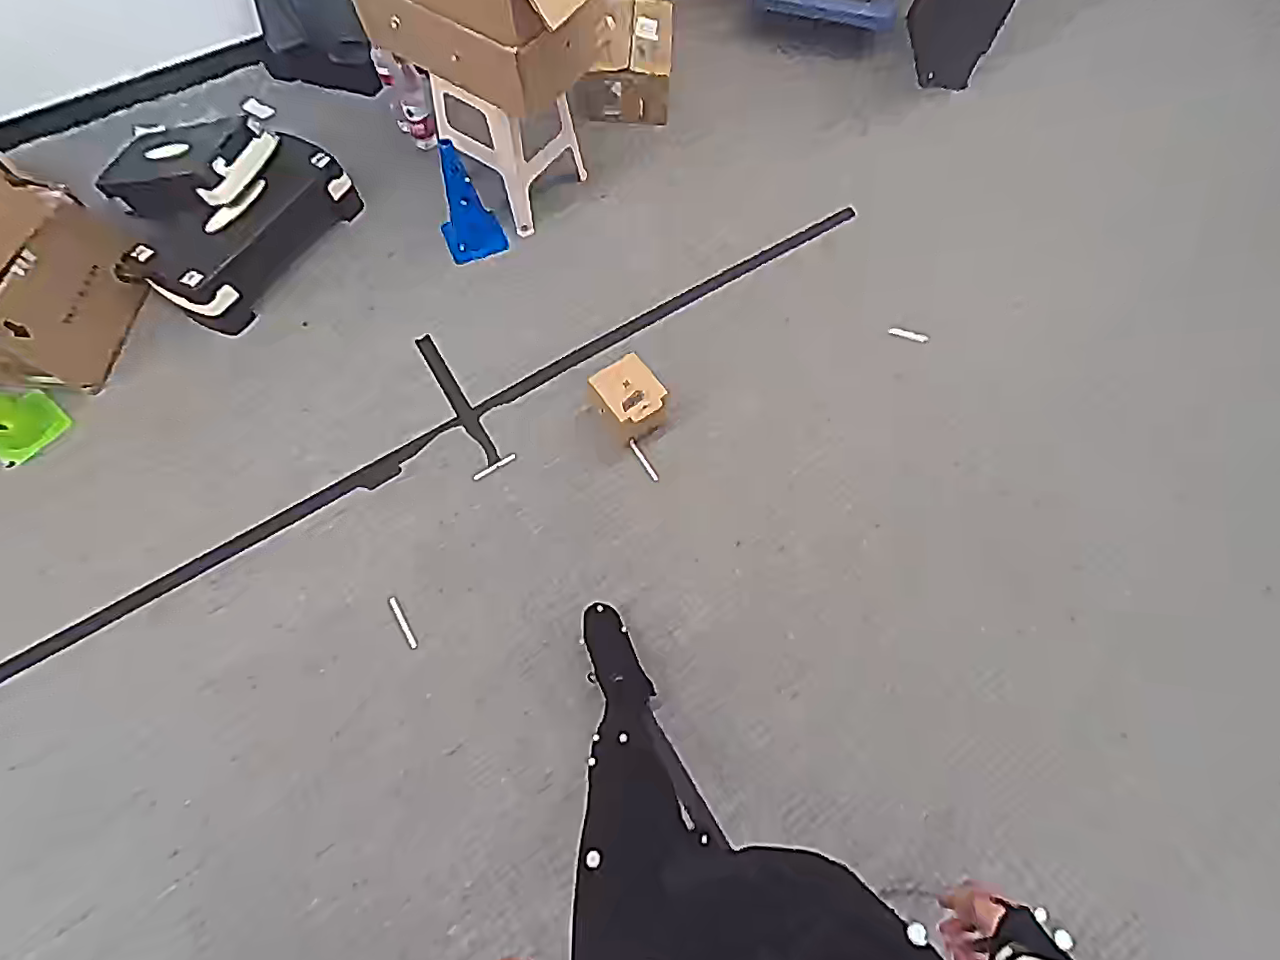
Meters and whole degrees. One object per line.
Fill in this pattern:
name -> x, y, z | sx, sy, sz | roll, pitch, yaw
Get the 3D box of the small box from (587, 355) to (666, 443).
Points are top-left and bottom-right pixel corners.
small box -> -0.039, -0.231, 1.611 | 0.168, 0.176, 0.179 | -33, 73, -14
